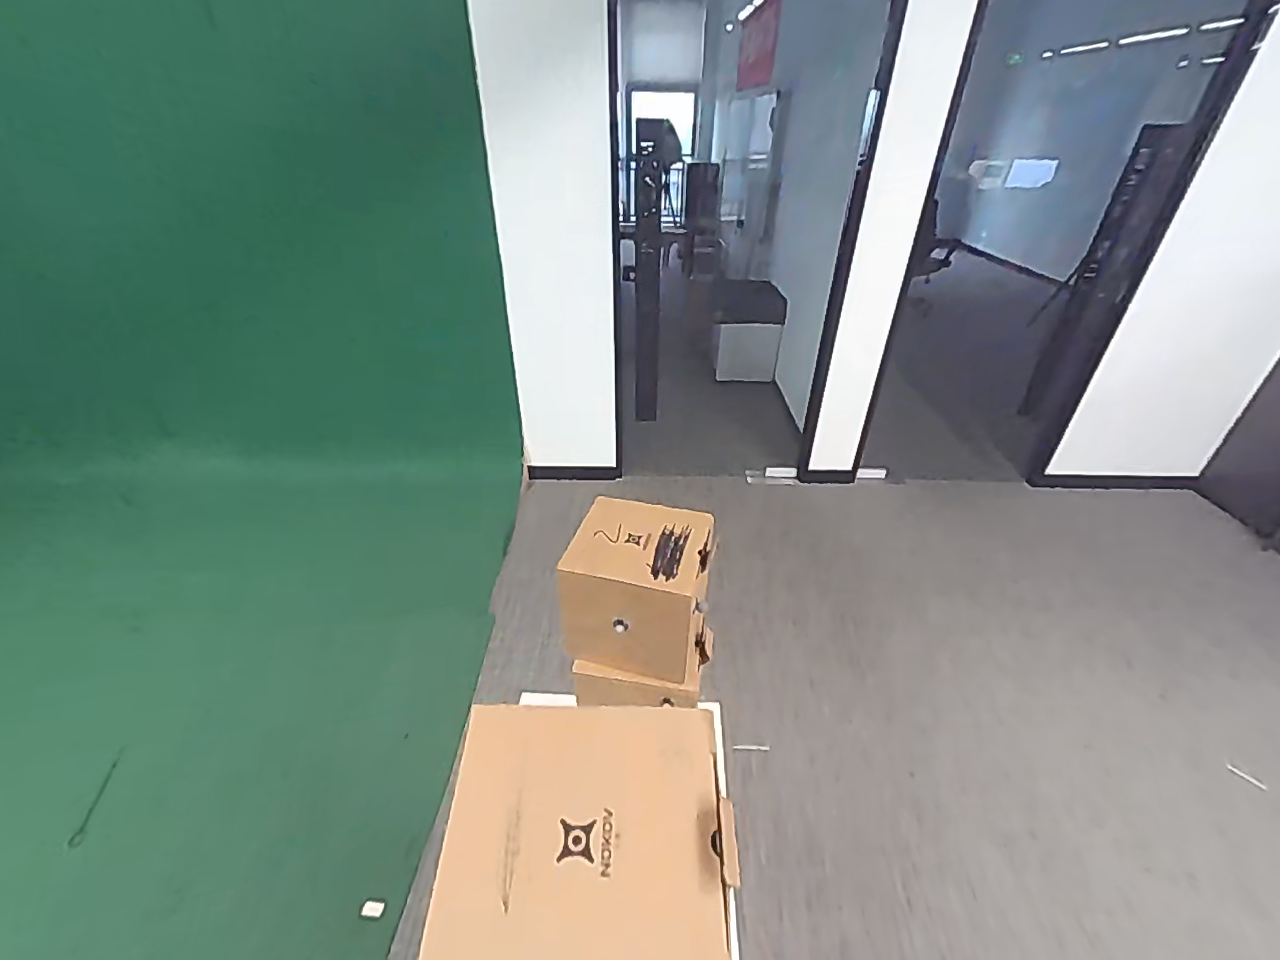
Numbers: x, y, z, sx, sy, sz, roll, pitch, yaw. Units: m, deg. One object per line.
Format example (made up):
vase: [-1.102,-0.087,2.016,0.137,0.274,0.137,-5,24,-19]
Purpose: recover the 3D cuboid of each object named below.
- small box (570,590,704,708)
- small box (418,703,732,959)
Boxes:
small box: [0.001,0.297,0.840,0.179,0.176,0.168,6,34,7]
small box: [-0.035,0.279,0.396,0.179,0.176,0.168,0,45,1]
